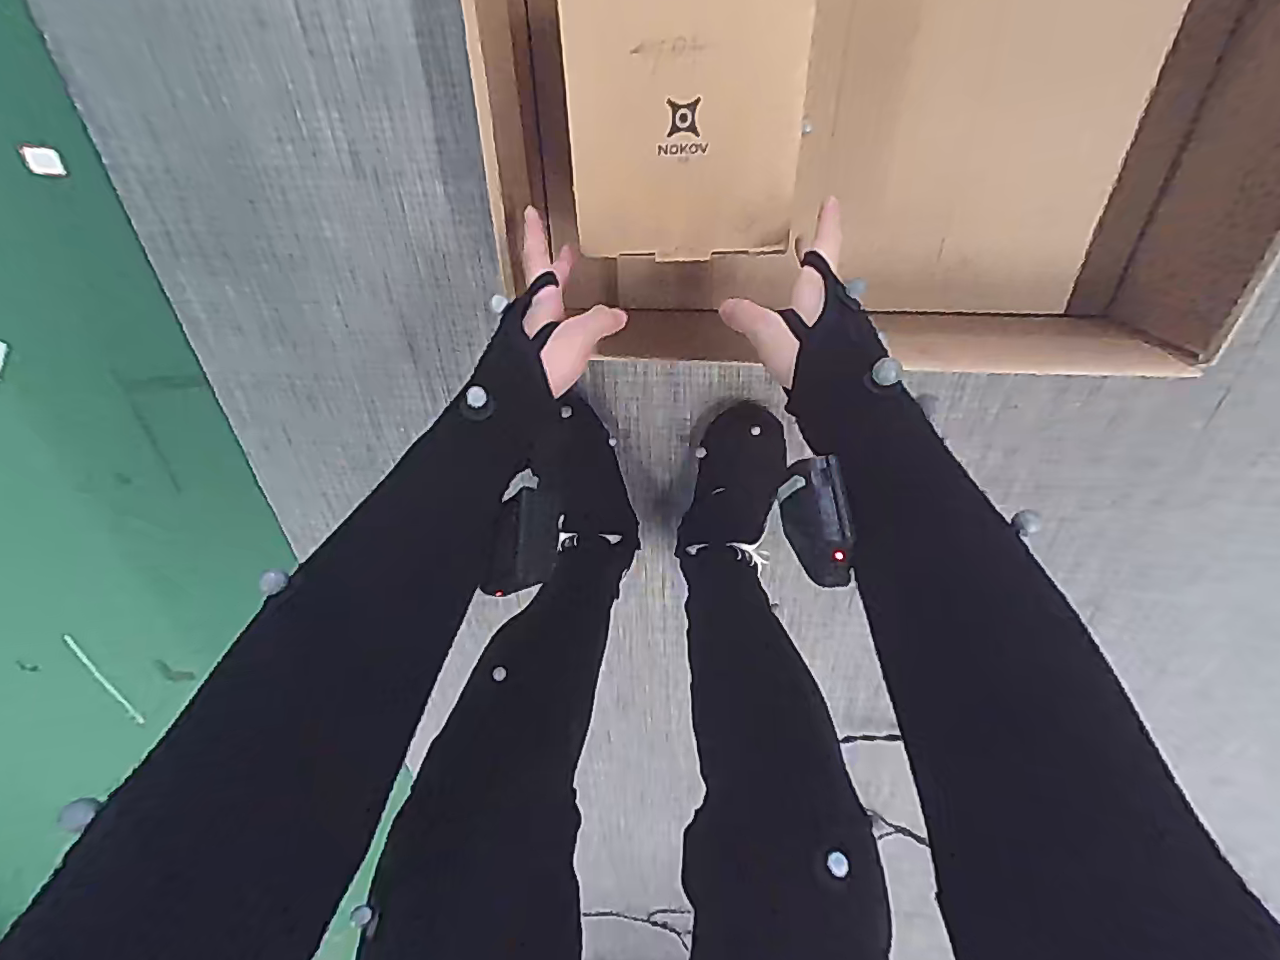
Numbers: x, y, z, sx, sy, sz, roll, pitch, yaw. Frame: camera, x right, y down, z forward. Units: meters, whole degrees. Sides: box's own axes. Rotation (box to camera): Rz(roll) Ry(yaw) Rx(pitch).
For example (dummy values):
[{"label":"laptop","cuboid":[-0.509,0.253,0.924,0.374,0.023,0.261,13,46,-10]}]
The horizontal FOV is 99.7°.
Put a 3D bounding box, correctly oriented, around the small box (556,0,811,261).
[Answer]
[{"label":"small box","cuboid":[0.035,-0.291,0.448,0.168,0.176,0.179,1,123,5]}]
